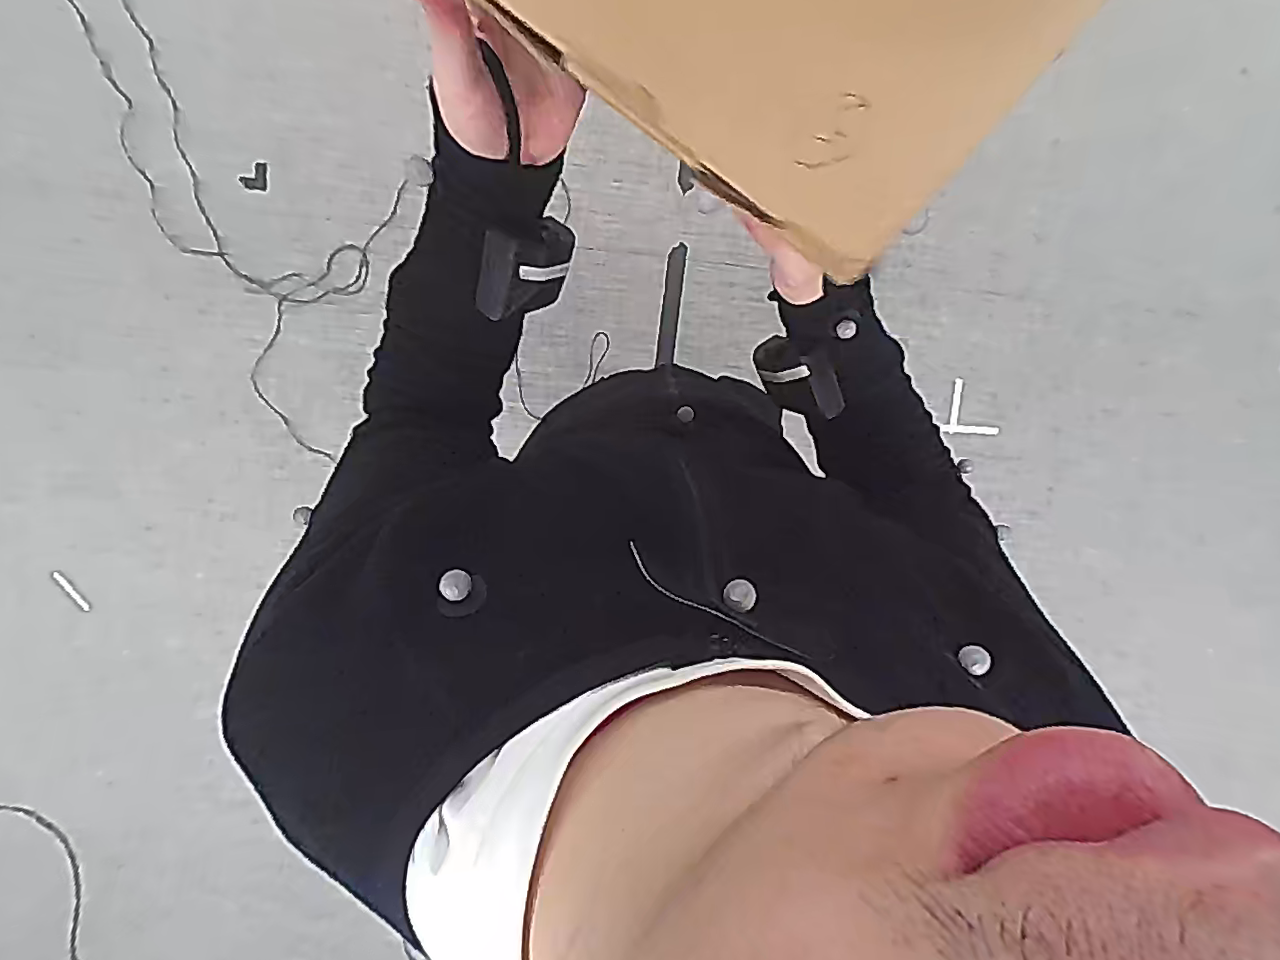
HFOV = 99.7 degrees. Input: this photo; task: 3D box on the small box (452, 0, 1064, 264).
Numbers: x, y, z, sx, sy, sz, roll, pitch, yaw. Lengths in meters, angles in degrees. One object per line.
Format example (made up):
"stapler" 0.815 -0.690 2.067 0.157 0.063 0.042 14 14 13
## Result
"small box" 0.049 -0.210 0.181 0.168 0.176 0.179 28 122 -14
